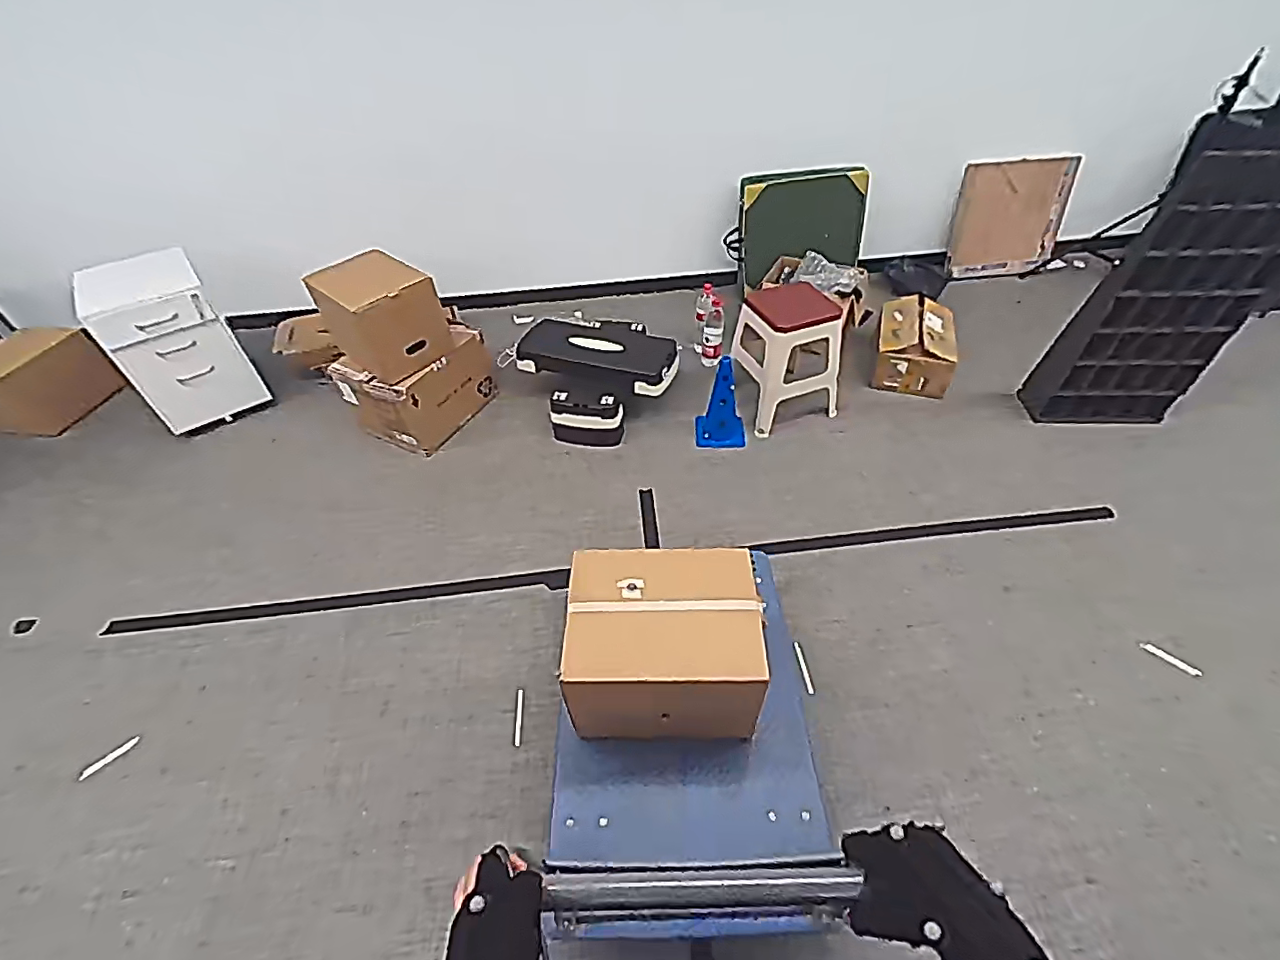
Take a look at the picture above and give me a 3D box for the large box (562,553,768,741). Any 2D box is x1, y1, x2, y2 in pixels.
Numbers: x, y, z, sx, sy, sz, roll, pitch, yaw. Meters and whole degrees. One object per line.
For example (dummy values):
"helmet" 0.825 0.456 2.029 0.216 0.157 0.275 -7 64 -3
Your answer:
"large box" 0.056 0.389 1.243 0.408 0.320 0.320 -2 45 3
